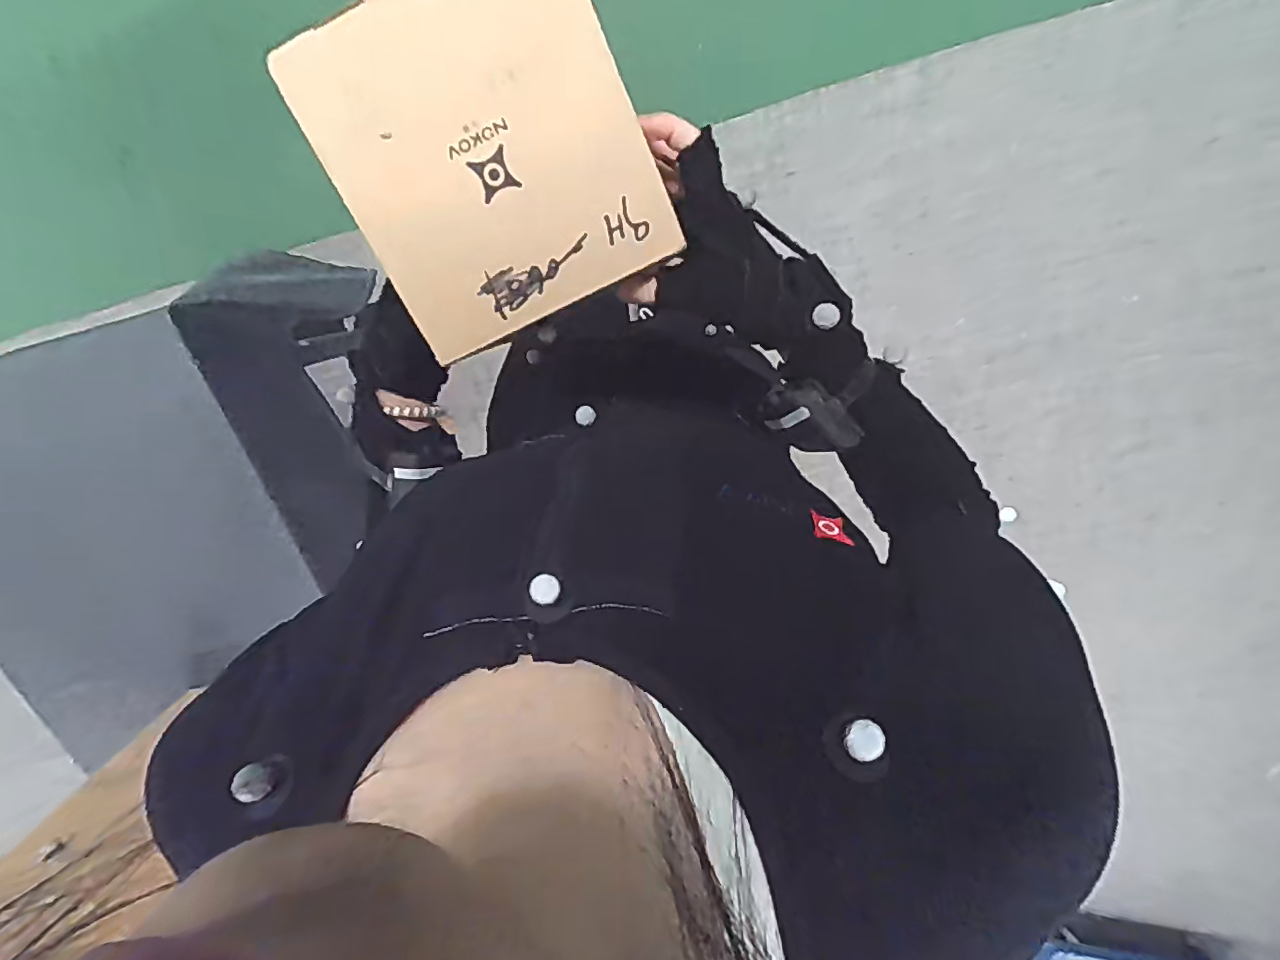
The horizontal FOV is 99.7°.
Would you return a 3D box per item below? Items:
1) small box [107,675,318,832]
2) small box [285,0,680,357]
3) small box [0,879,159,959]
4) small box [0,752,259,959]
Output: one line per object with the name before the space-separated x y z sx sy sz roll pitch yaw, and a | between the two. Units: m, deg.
small box | -0.654 0.435 0.859 0.179 0.176 0.168 -13 109 8
small box | -0.087 -0.204 0.381 0.168 0.176 0.179 -24 108 6
small box | -0.665 0.544 0.551 0.168 0.176 0.179 -12 109 7
small box | -0.660 0.490 0.706 0.179 0.176 0.168 -13 109 7
